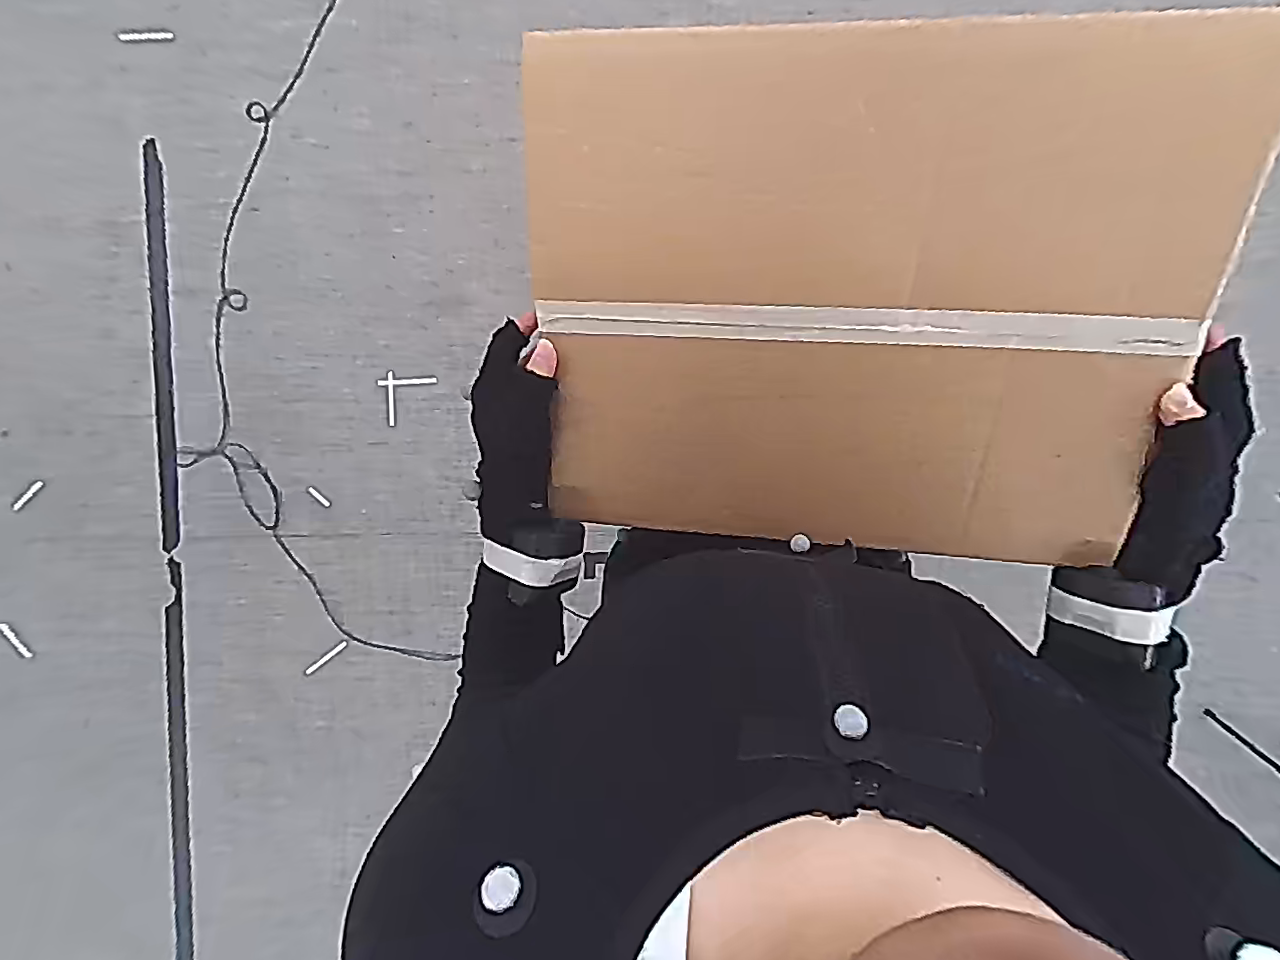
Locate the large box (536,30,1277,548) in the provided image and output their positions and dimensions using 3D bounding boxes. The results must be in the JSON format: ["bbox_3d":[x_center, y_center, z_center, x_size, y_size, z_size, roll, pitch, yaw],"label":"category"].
[{"bbox_3d":[0.150,-0.159,0.496,0.408,0.320,0.320,4,114,7],"label":"large box"}]
